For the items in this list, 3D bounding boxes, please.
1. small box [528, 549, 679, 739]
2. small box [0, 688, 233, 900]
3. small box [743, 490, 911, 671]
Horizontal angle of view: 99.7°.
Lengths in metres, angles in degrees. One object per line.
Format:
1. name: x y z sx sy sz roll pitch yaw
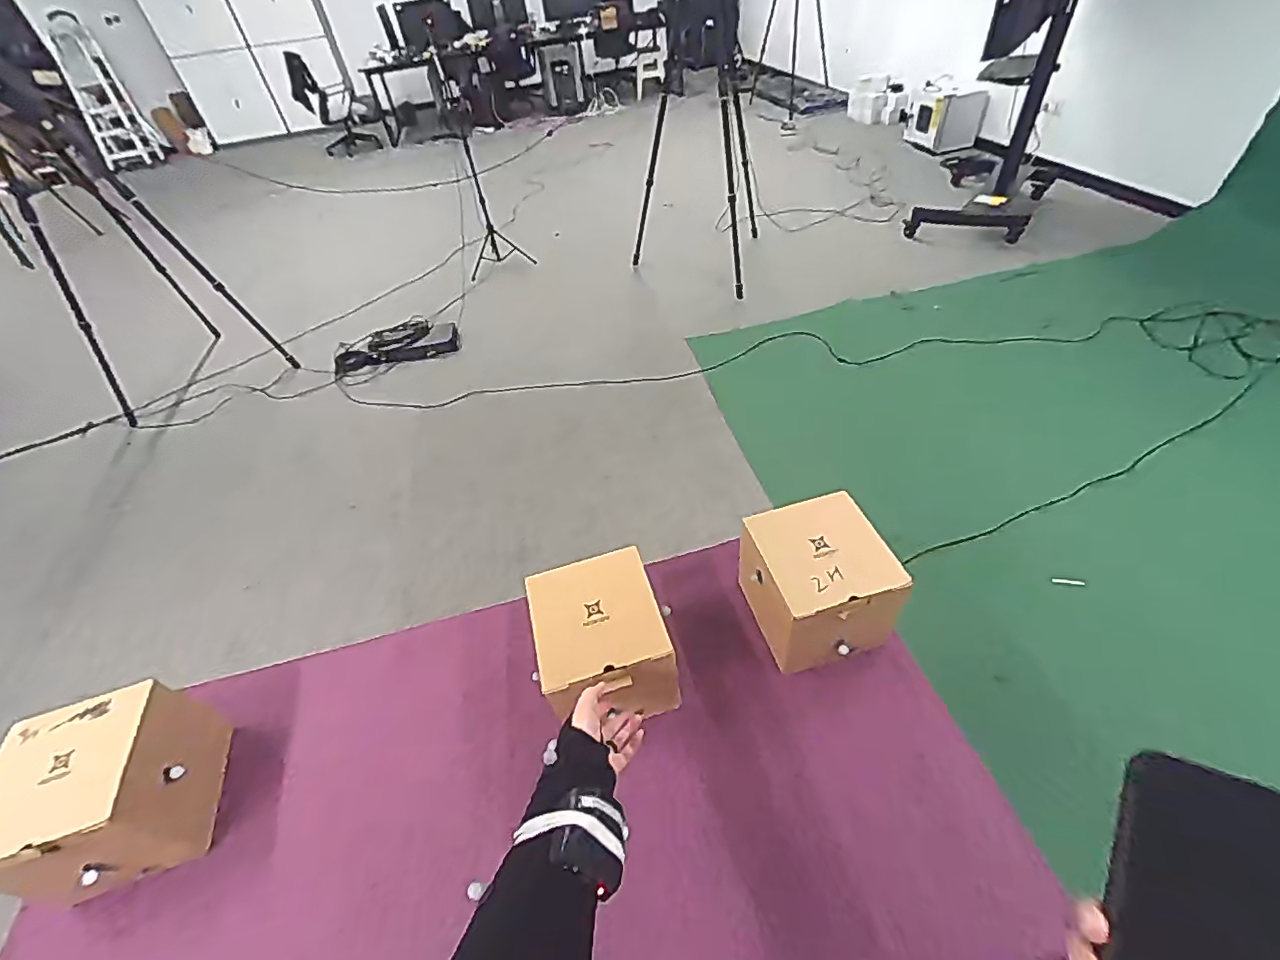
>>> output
1. small box: -0.050 0.232 0.765 0.168 0.176 0.179 -16 46 -7
2. small box: -0.664 0.403 0.690 0.168 0.176 0.179 -17 47 -10
3. small box: 0.256 0.148 0.794 0.168 0.176 0.179 -15 46 -5
